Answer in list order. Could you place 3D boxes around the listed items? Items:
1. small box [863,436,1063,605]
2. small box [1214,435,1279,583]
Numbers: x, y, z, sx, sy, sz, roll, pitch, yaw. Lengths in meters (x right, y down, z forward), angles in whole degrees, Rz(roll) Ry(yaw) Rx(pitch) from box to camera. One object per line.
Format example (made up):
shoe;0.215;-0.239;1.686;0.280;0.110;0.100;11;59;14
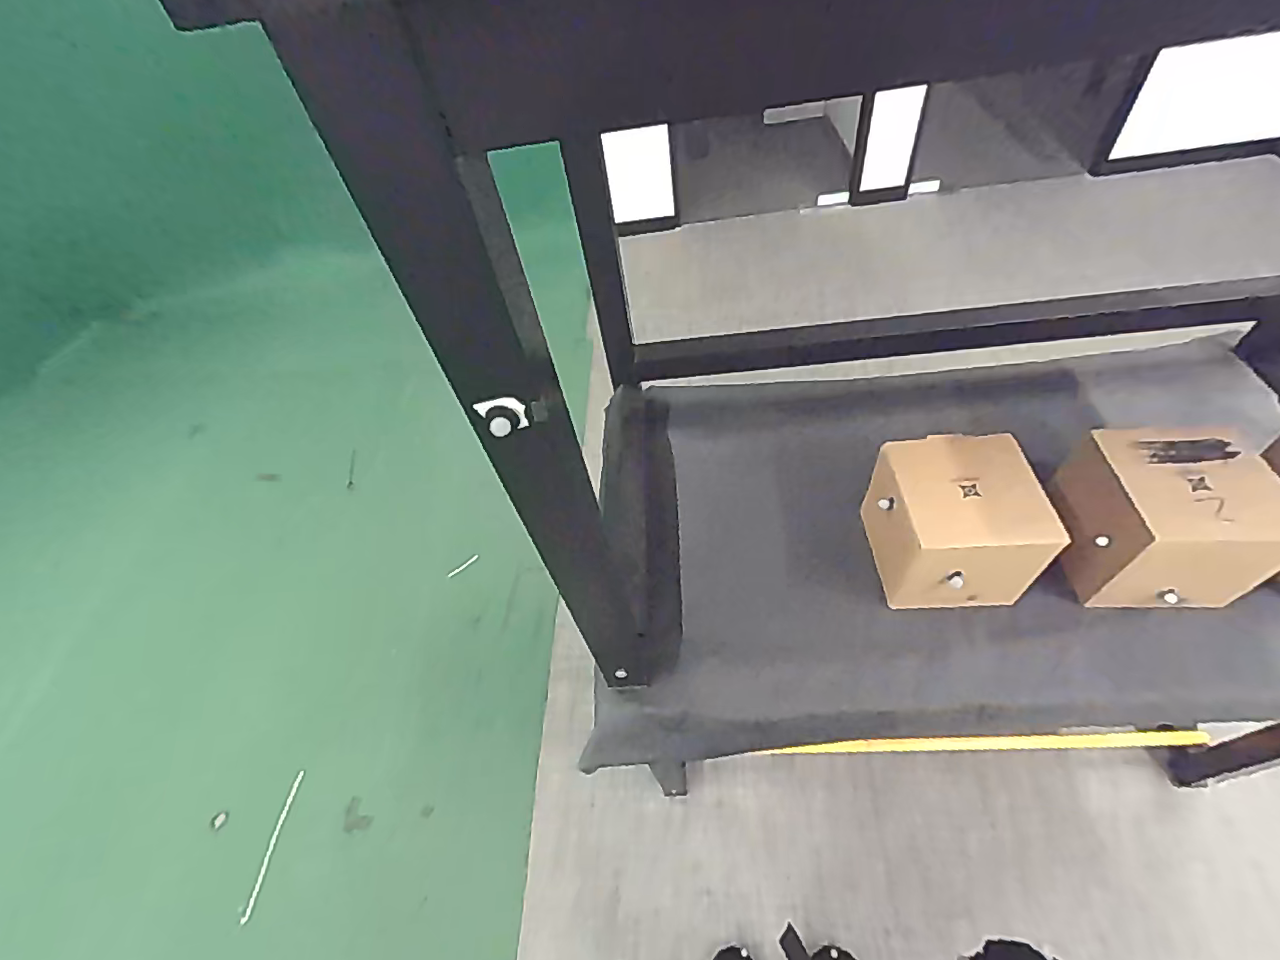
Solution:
small box;0.423;0.064;0.746;0.168;0.176;0.179;-4;50;7
small box;0.911;0.039;0.677;0.168;0.176;0.179;-4;49;6
